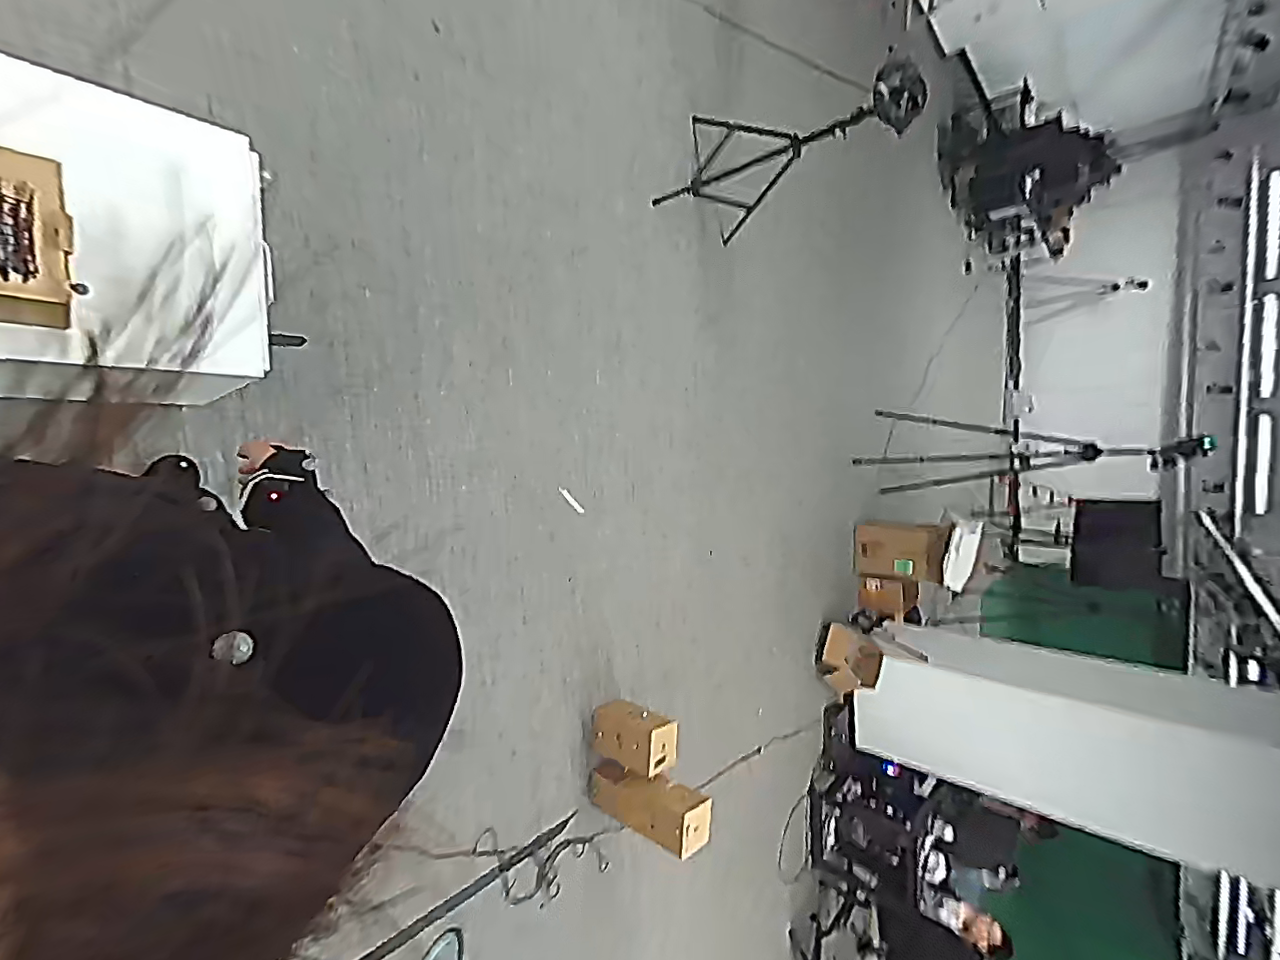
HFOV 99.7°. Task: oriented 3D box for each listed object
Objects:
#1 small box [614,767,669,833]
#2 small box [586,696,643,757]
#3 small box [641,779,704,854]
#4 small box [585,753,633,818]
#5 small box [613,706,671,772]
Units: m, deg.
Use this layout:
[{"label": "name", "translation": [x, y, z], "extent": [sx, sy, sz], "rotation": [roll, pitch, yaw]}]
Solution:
[{"label": "small box", "translation": [0.005, 1.297, 2.210], "extent": [0.168, 0.176, 0.179], "rotation": [-4, 94, -49]}, {"label": "small box", "translation": [-0.108, 1.046, 2.316], "extent": [0.179, 0.176, 0.168], "rotation": [1, 90, -48]}, {"label": "small box", "translation": [0.127, 1.297, 2.100], "extent": [0.179, 0.176, 0.168], "rotation": [7, 85, -50]}, {"label": "small box", "translation": [-0.116, 1.293, 2.318], "extent": [0.179, 0.176, 0.168], "rotation": [-6, 95, -48]}, {"label": "small box", "translation": [0.005, 1.044, 2.196], "extent": [0.168, 0.176, 0.179], "rotation": [6, 86, -49]}]
